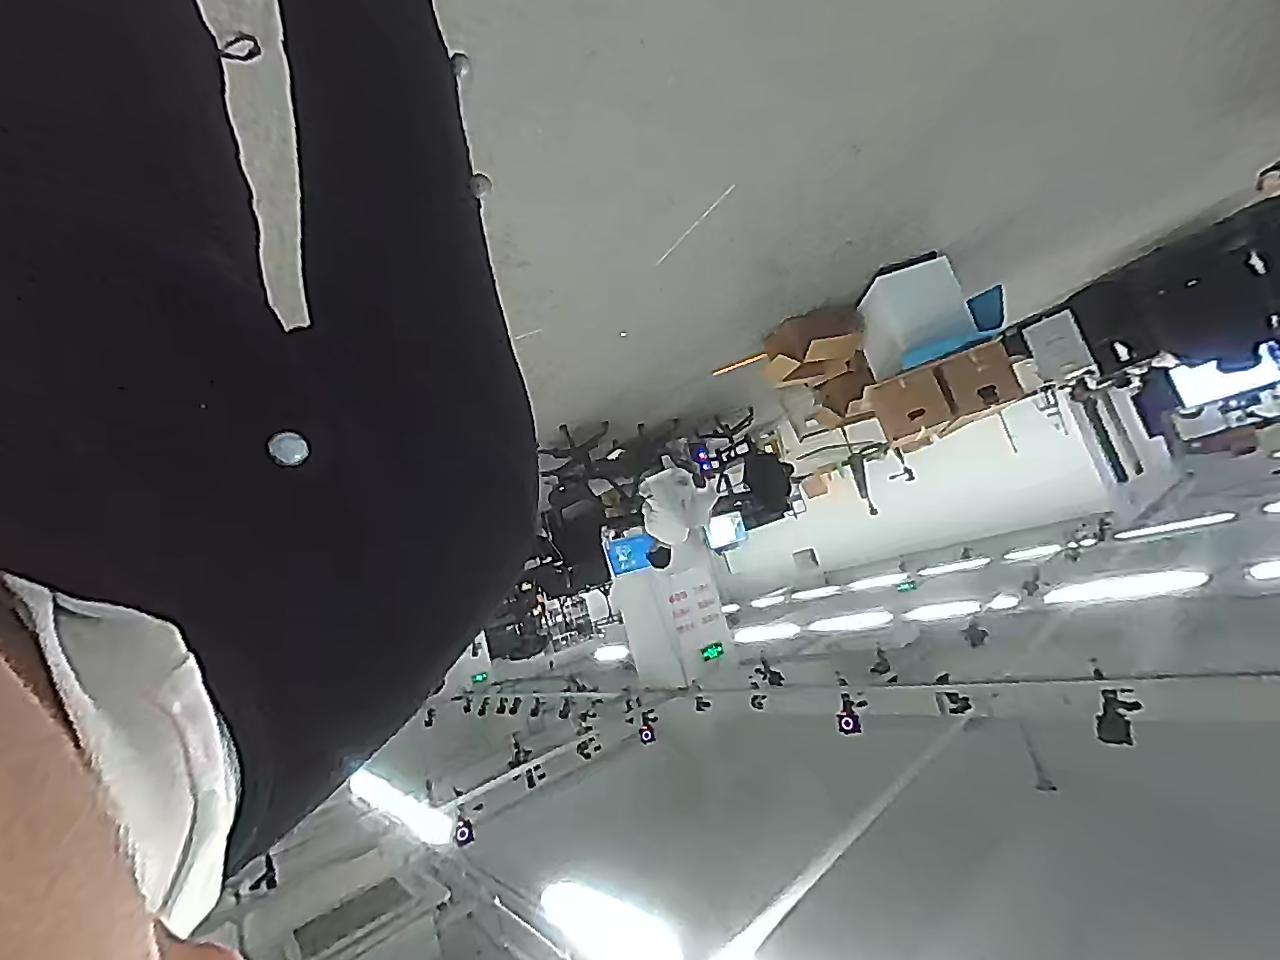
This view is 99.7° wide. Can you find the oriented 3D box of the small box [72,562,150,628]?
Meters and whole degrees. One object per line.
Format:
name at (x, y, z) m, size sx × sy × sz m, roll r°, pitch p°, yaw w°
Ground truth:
small box at (-1.753, 0.380, 1.798) m, size 0.168 × 0.176 × 0.179 m, roll -9°, pitch 167°, yaw -40°
